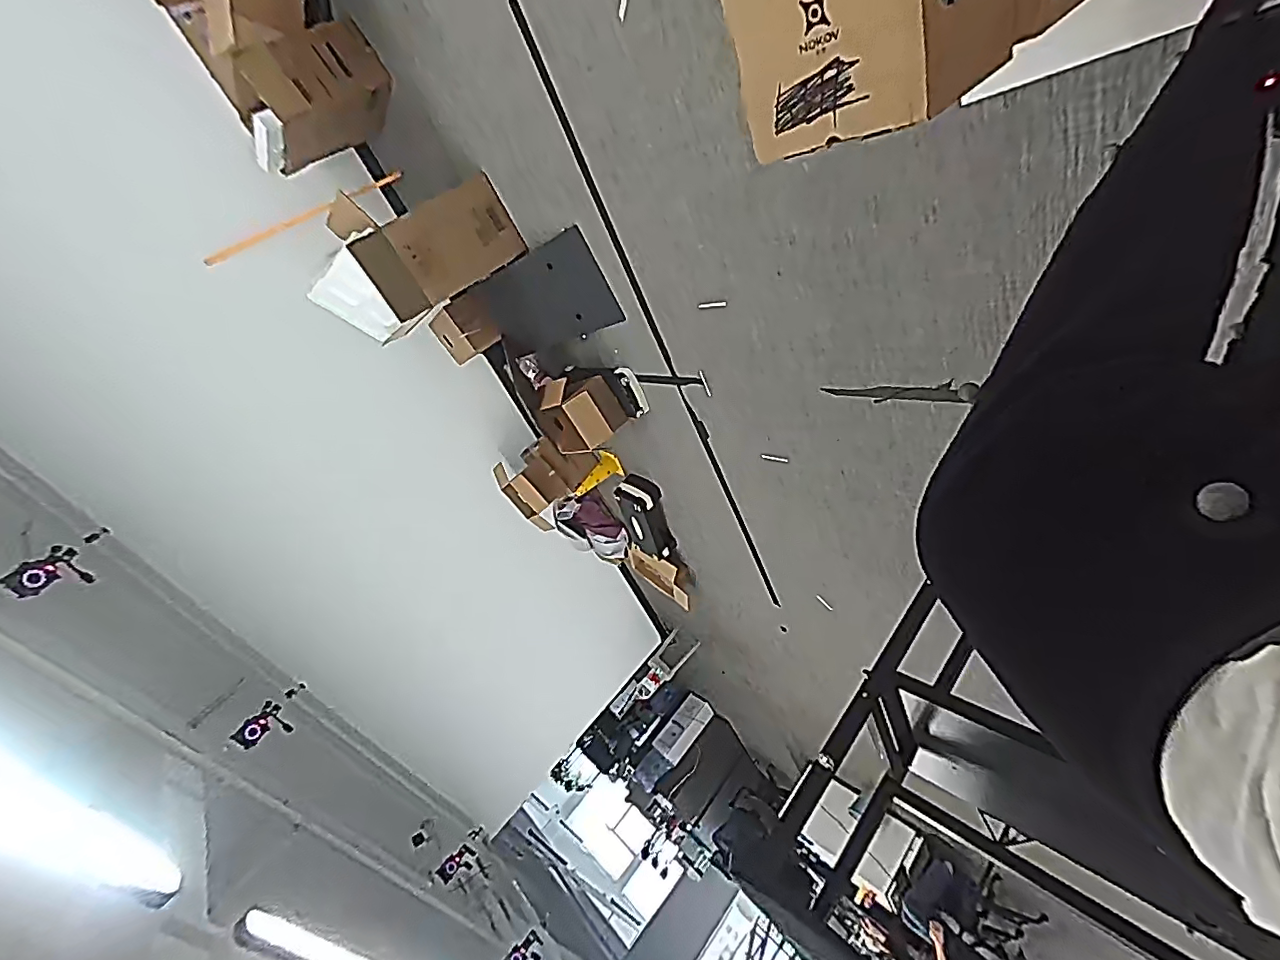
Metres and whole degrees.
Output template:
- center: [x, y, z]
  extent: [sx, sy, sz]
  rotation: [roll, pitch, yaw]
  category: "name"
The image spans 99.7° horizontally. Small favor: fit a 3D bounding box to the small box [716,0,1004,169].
- center: [0.190, -0.404, 0.462]
  extent: [0.168, 0.176, 0.179]
  rotation: [18, 142, 47]
  category: "small box"
